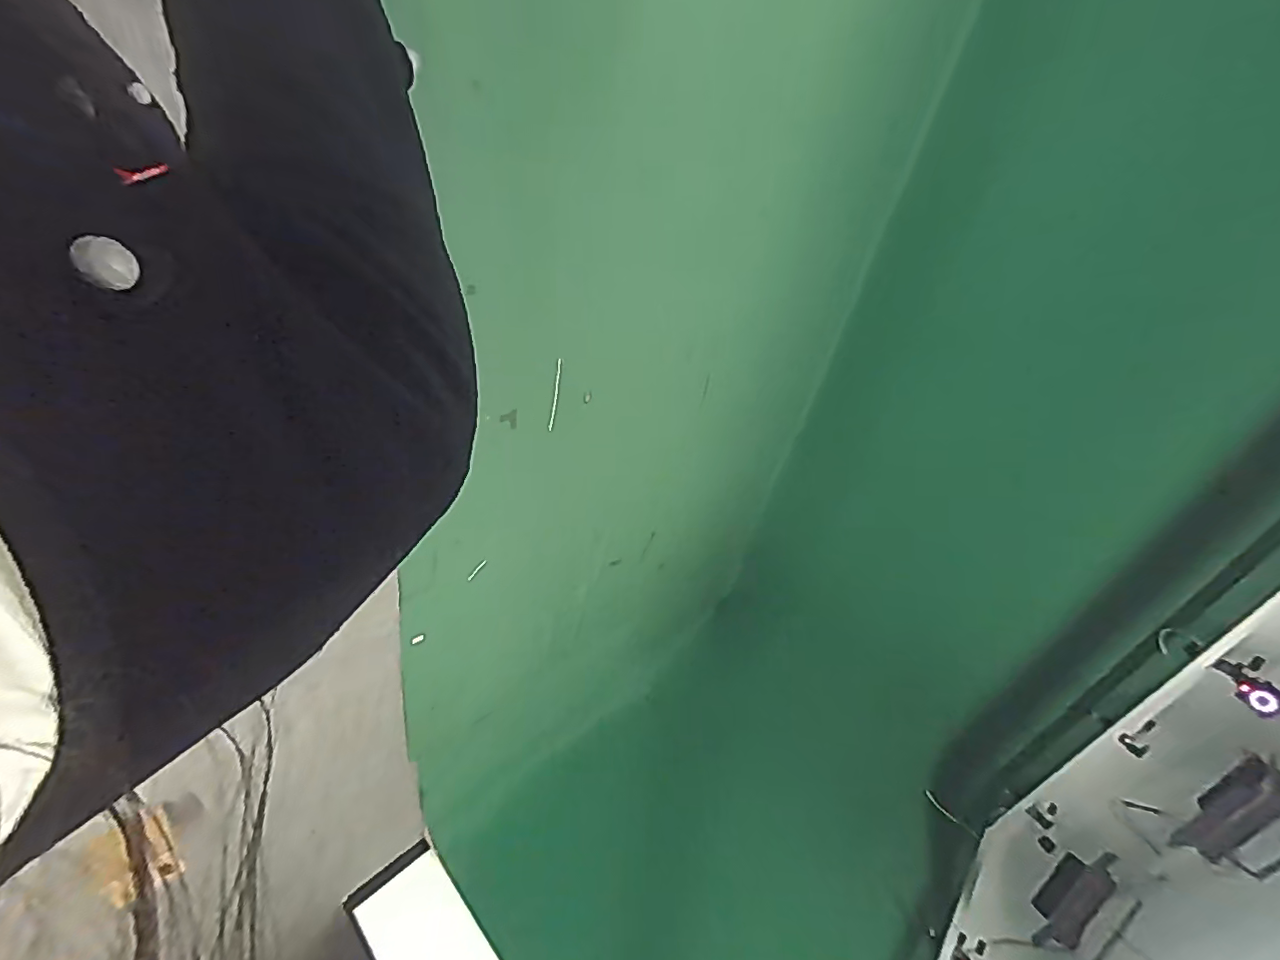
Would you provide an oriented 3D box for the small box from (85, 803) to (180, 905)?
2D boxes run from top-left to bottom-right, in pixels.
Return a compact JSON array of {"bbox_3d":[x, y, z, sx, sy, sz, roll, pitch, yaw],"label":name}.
[{"bbox_3d":[-1.608,1.177,1.713,0.179,0.176,0.168,-20,136,-43],"label":"small box"}]
